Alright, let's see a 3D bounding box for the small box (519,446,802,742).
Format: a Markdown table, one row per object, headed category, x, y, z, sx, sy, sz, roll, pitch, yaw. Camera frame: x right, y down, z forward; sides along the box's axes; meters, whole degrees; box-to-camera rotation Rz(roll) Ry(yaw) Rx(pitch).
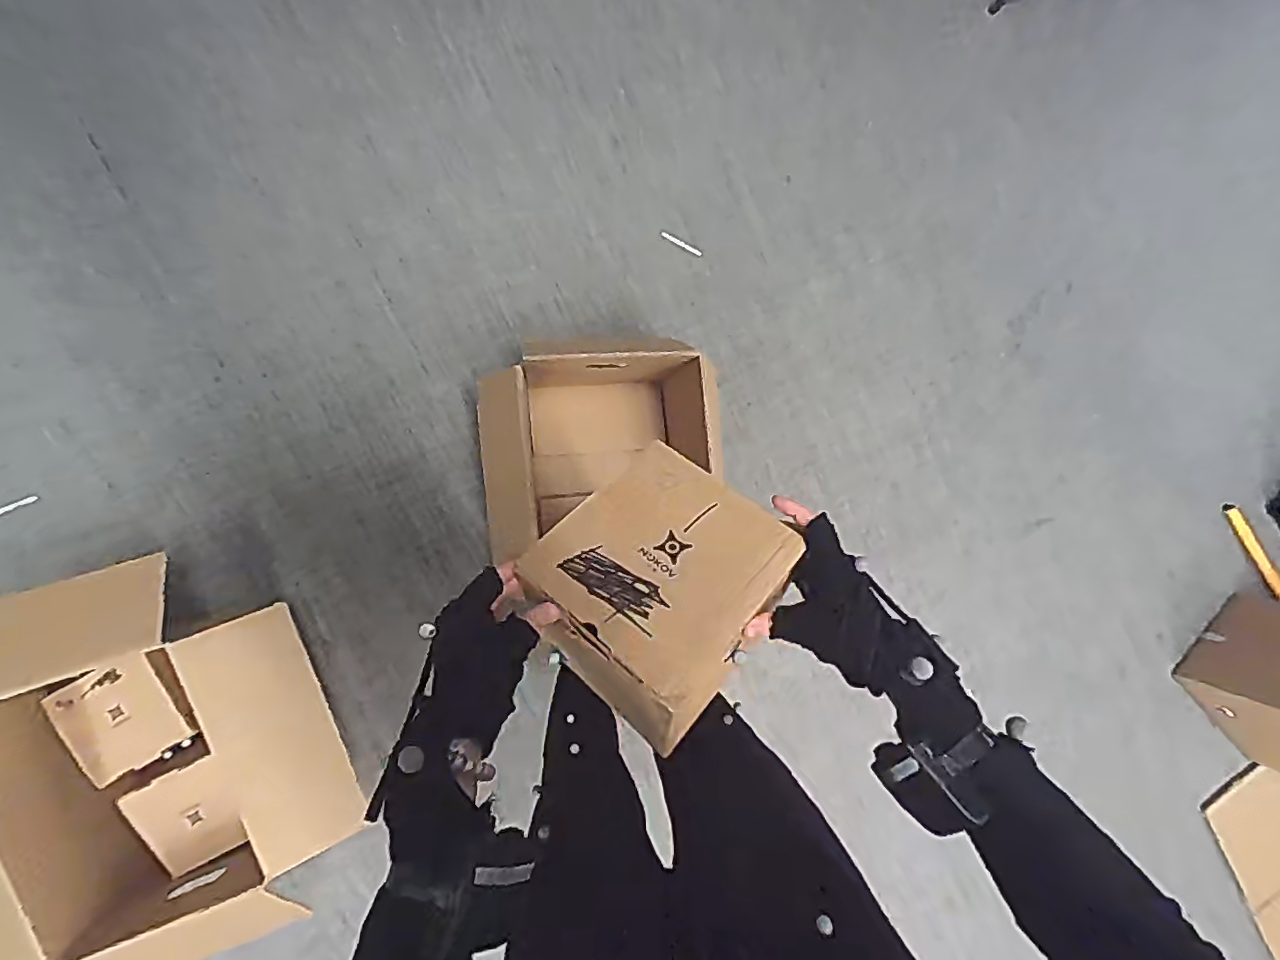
| category | x | y | z | sx | sy | sz | roll | pitch | yaw |
| --- | --- | --- | --- | --- | --- | --- | --- | --- | --- |
| small box | 0.018 | 0.110 | 0.502 | 0.168 | 0.176 | 0.179 | 36 | 62 | 22 |
